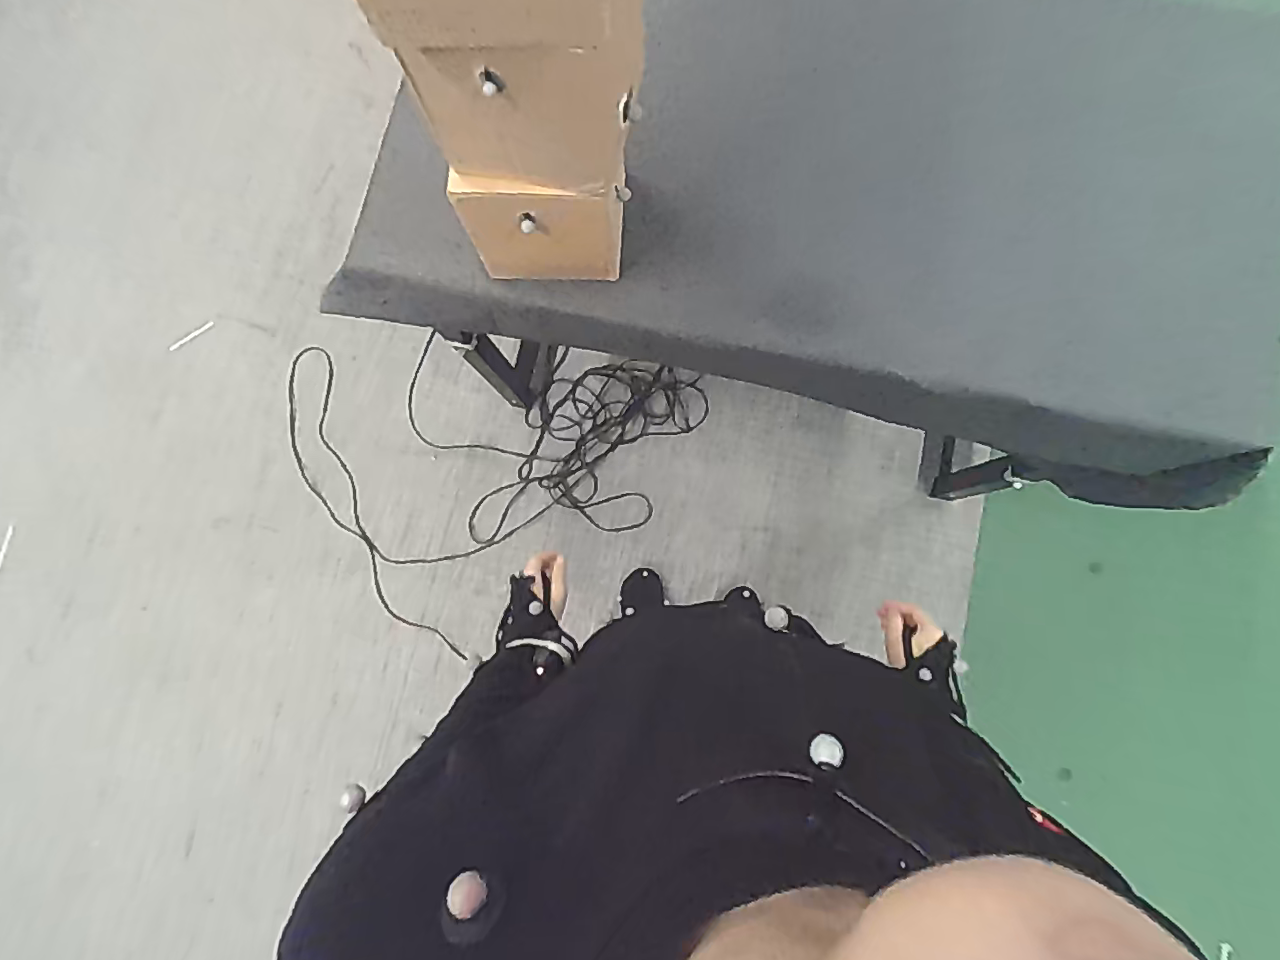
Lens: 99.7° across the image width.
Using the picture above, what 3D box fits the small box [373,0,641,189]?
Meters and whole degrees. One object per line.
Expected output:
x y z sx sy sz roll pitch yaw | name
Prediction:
-0.101 -0.402 0.497 0.179 0.176 0.168 11 82 3 | small box

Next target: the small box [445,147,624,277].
-0.113 -0.364 0.656 0.179 0.176 0.168 3 80 3 | small box
